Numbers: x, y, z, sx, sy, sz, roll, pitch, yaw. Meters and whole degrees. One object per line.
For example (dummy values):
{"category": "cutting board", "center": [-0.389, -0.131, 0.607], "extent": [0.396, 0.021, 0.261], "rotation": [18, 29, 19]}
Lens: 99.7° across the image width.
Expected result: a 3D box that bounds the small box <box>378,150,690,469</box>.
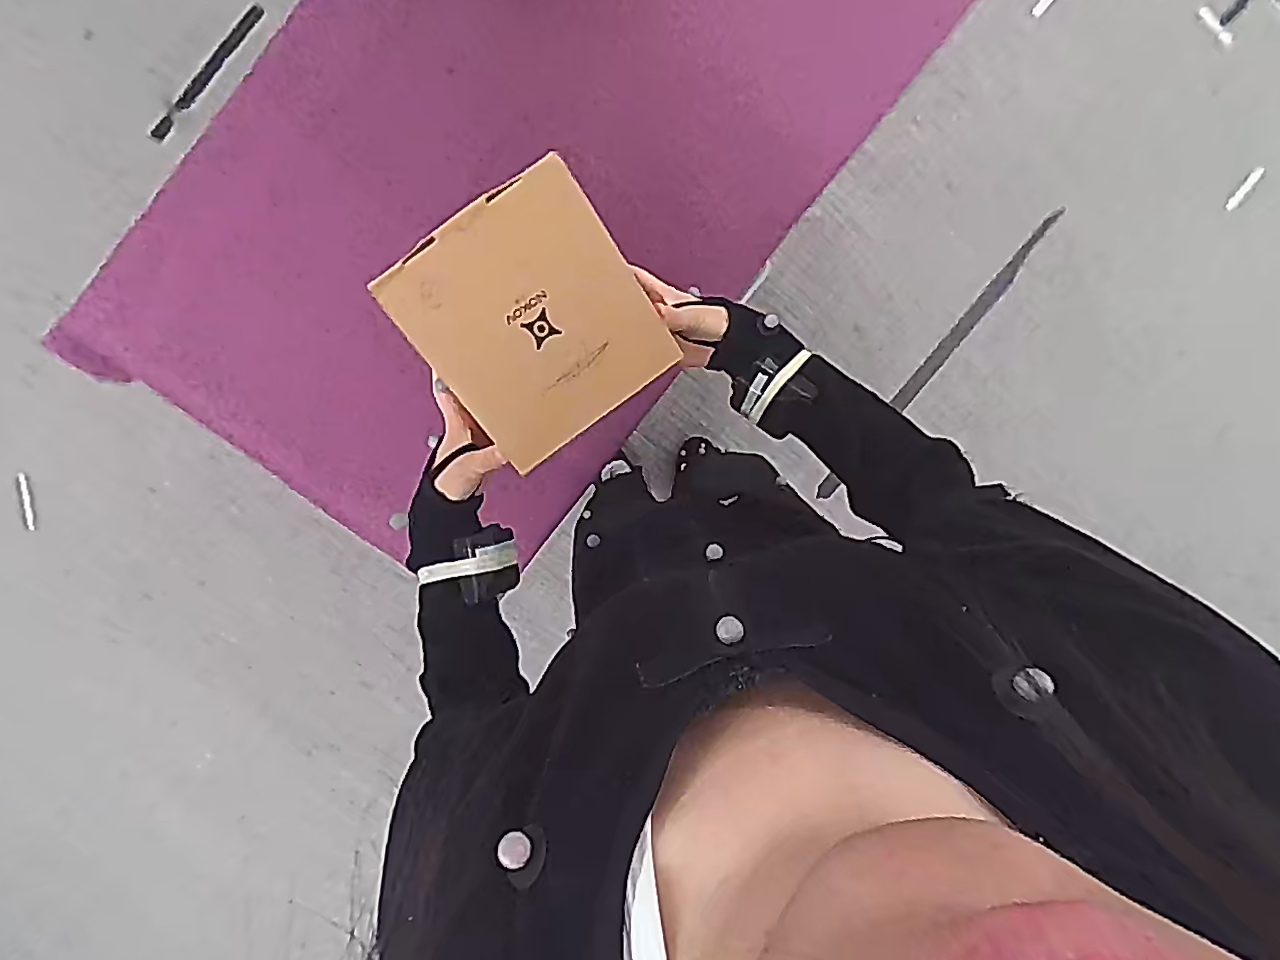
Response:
{"category": "small box", "center": [-0.088, -0.140, 0.477], "extent": [0.168, 0.176, 0.179], "rotation": [-36, 111, 0]}
